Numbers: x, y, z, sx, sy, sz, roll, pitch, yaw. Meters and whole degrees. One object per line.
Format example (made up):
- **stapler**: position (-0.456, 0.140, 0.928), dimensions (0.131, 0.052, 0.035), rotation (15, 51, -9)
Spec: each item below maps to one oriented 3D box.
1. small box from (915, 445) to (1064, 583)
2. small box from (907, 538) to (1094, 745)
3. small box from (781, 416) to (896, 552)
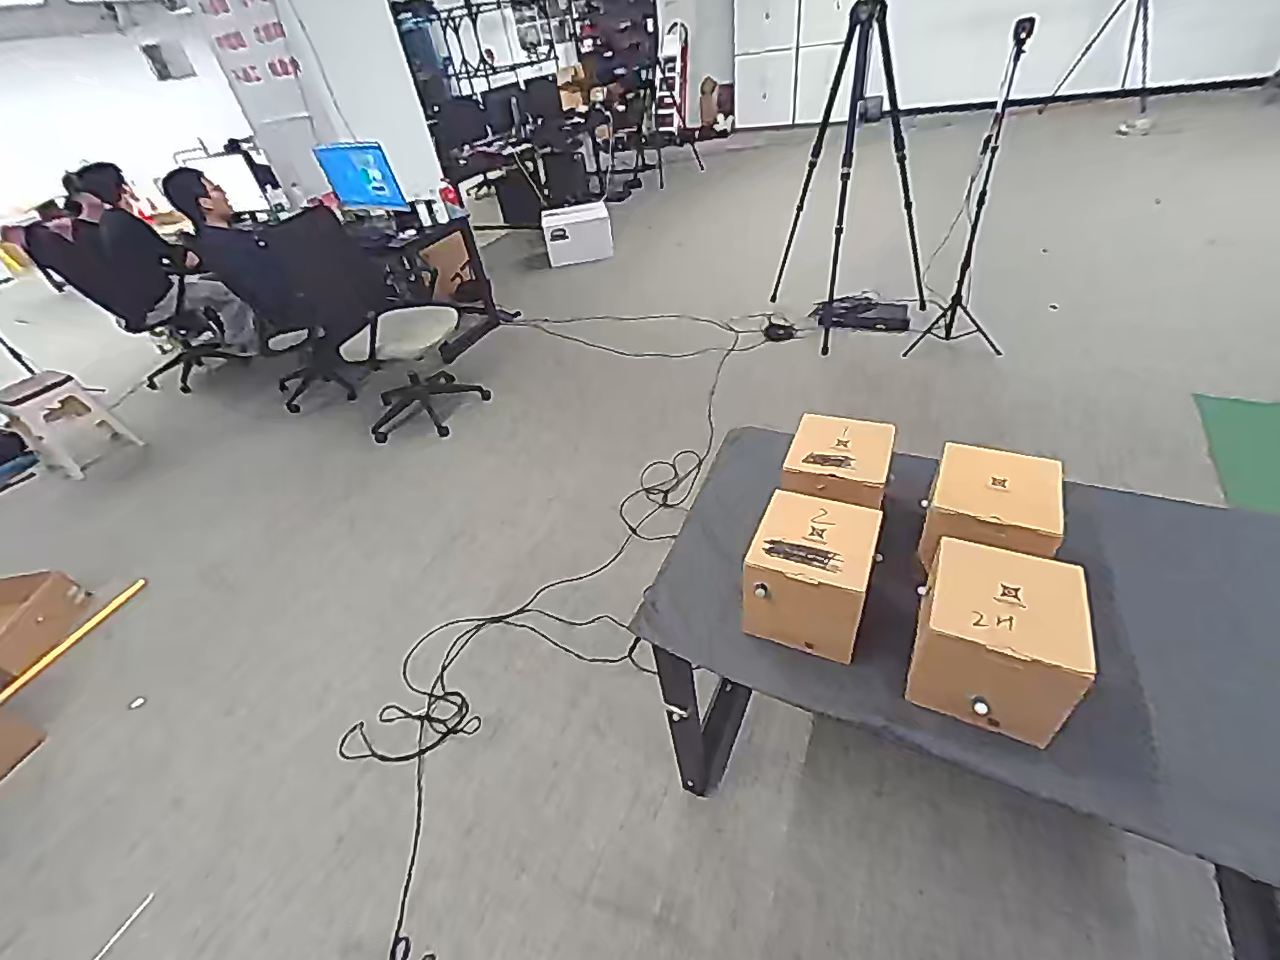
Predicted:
- **small box**: position (0.563, 0.072, 0.885), dimensions (0.168, 0.176, 0.179), rotation (14, 46, 26)
- **small box**: position (0.472, 0.213, 0.728), dimensions (0.168, 0.176, 0.179), rotation (13, 43, 26)
- **small box**: position (0.363, 0.006, 1.000), dimensions (0.168, 0.176, 0.179), rotation (12, 44, 24)
